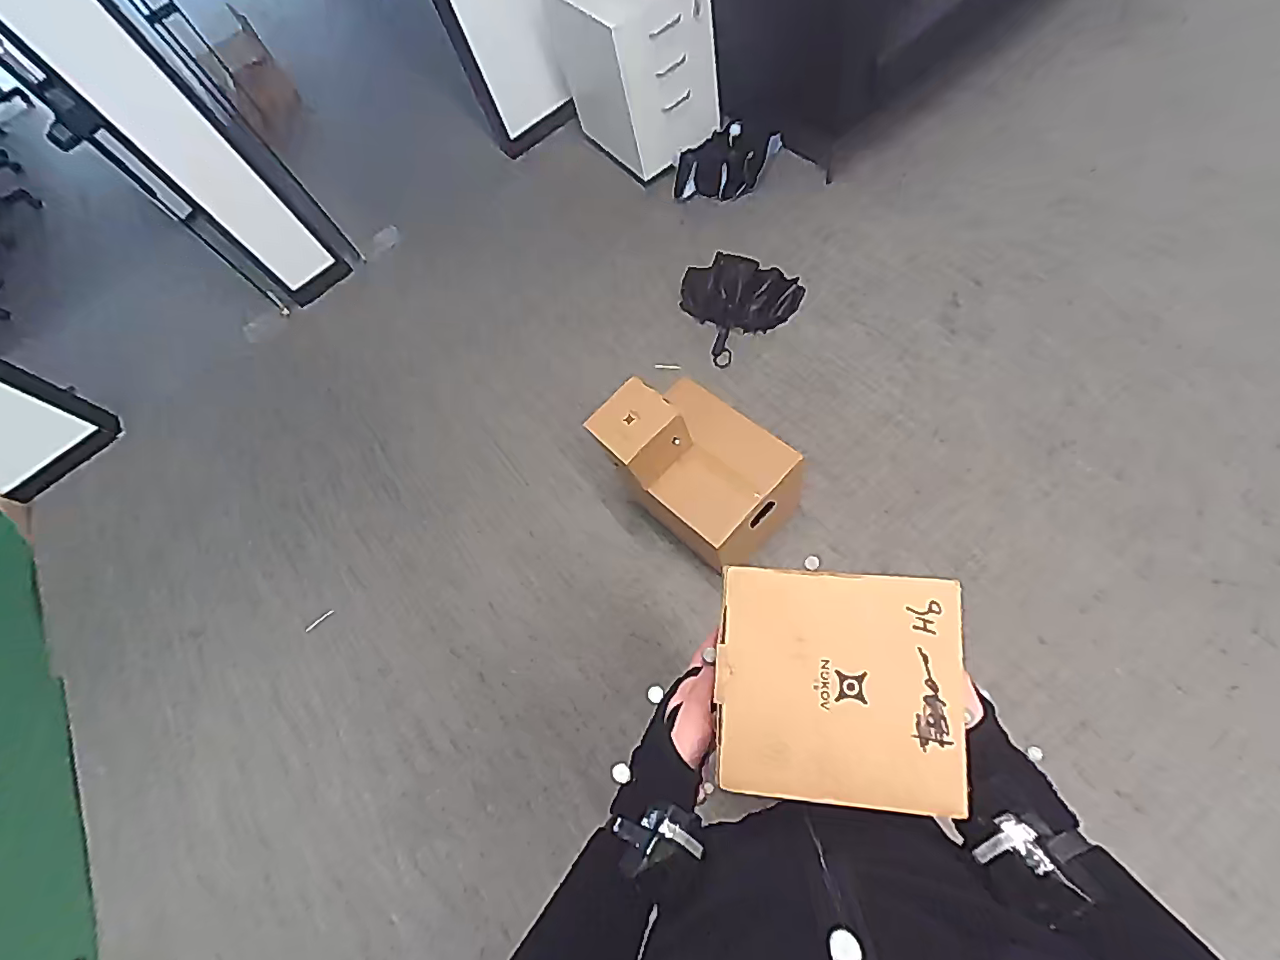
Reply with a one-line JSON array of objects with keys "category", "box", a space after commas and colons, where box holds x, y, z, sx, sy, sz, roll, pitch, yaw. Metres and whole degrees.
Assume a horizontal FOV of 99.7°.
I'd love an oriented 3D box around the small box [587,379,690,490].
[{"category": "small box", "box": [0.005, -0.108, 1.328, 0.179, 0.176, 0.168, -46, 62, -4]}]
